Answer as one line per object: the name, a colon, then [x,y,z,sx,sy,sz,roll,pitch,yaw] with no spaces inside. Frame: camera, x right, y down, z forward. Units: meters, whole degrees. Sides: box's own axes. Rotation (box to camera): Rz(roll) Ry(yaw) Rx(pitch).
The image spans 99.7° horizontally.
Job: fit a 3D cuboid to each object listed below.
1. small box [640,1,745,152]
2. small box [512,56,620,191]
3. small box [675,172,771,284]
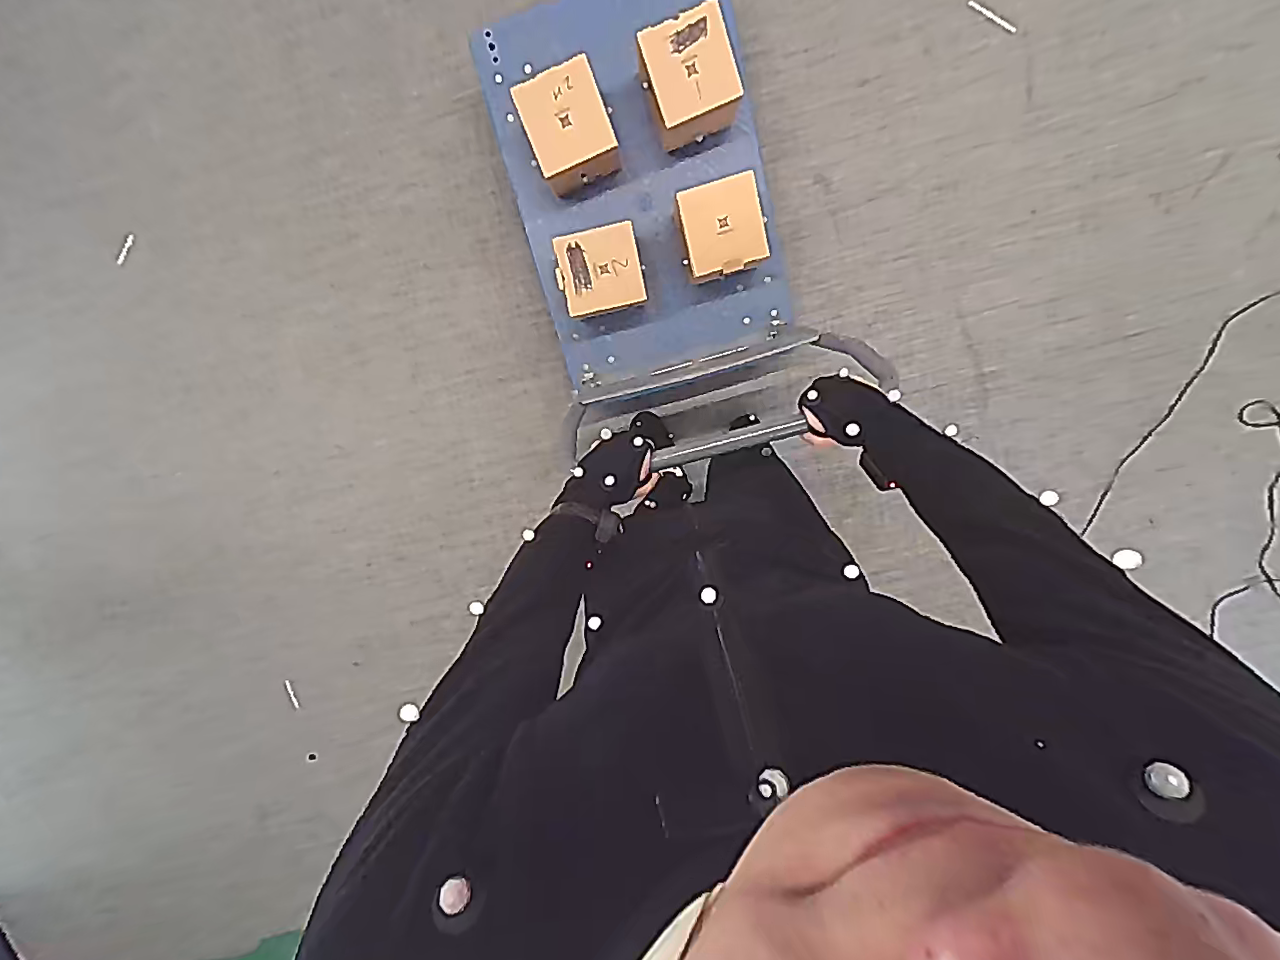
small box: [0.103,-0.828,1.130,0.168,0.176,0.179,-20,106,6]
small box: [-0.148,-0.743,1.156,0.168,0.176,0.179,-21,104,5]
small box: [0.179,-0.553,1.209,0.168,0.176,0.179,-15,106,5]
